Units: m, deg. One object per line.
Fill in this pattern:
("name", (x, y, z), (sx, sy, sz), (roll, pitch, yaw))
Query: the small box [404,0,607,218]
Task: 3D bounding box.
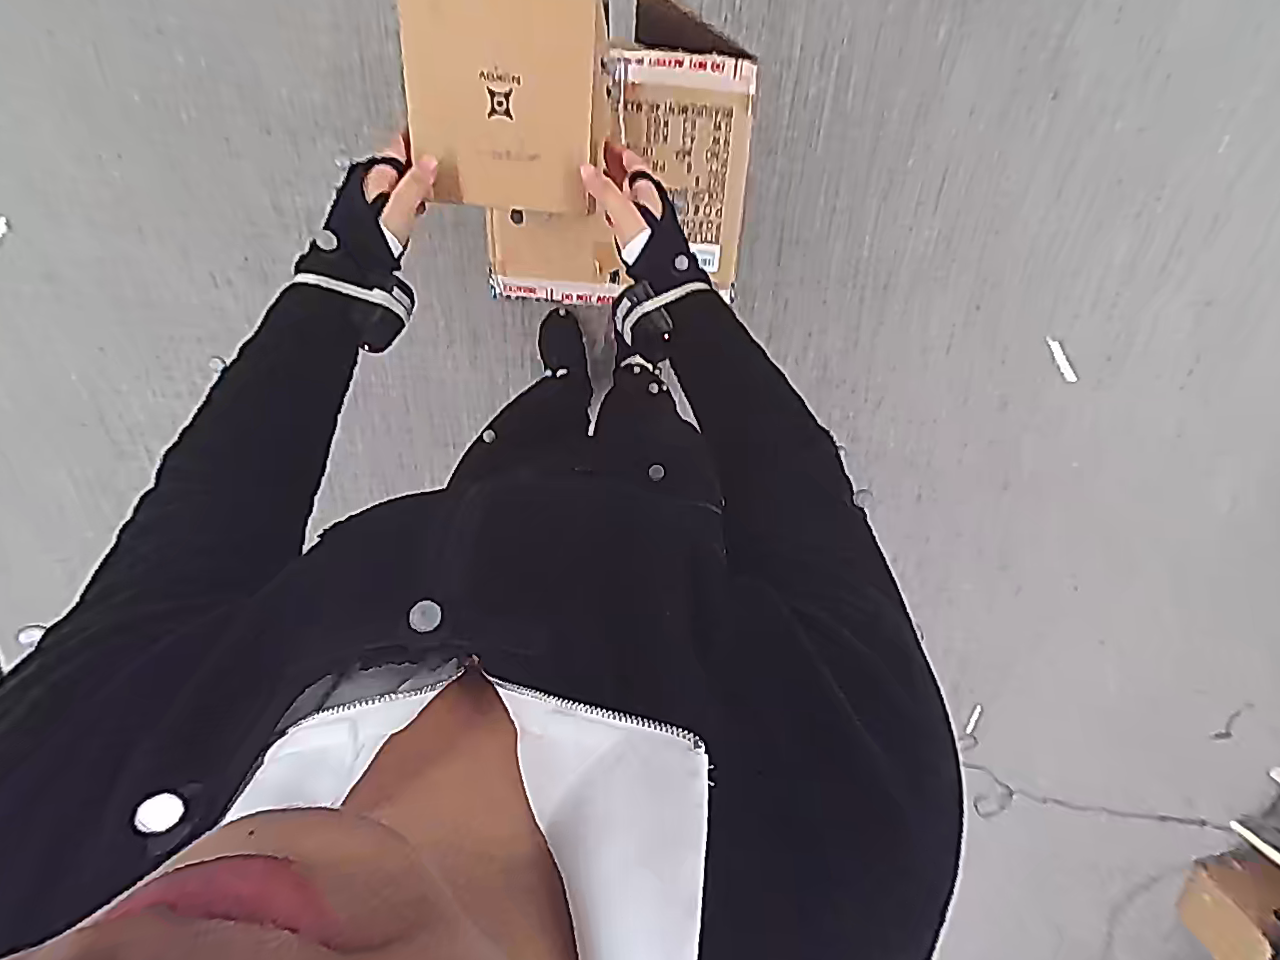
("small box", (-0.123, -0.373, 0.554), (0.168, 0.176, 0.179), (4, 117, -2))
